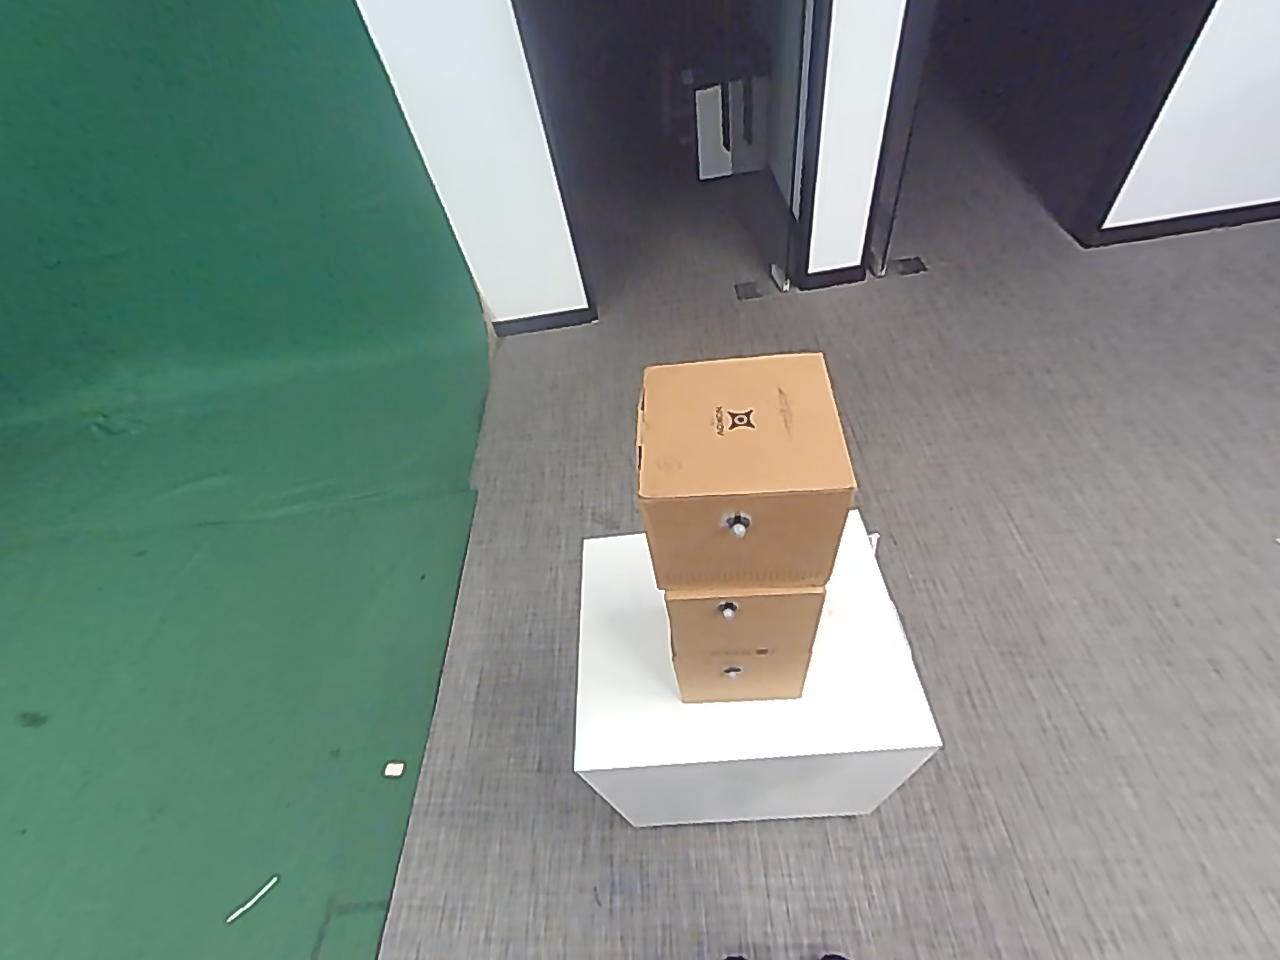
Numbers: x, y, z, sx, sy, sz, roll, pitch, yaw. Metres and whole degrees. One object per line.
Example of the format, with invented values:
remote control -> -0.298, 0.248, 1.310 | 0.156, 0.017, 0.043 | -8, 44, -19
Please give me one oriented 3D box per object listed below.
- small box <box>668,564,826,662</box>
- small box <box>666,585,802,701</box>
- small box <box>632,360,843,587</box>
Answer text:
small box -> 0.119, 0.109, 0.675 | 0.168, 0.176, 0.179 | -5, 50, 5
small box -> 0.135, 0.215, 0.795 | 0.179, 0.176, 0.168 | -5, 49, 6
small box -> 0.093, 0.000, 0.554 | 0.179, 0.176, 0.168 | -3, 52, 7
